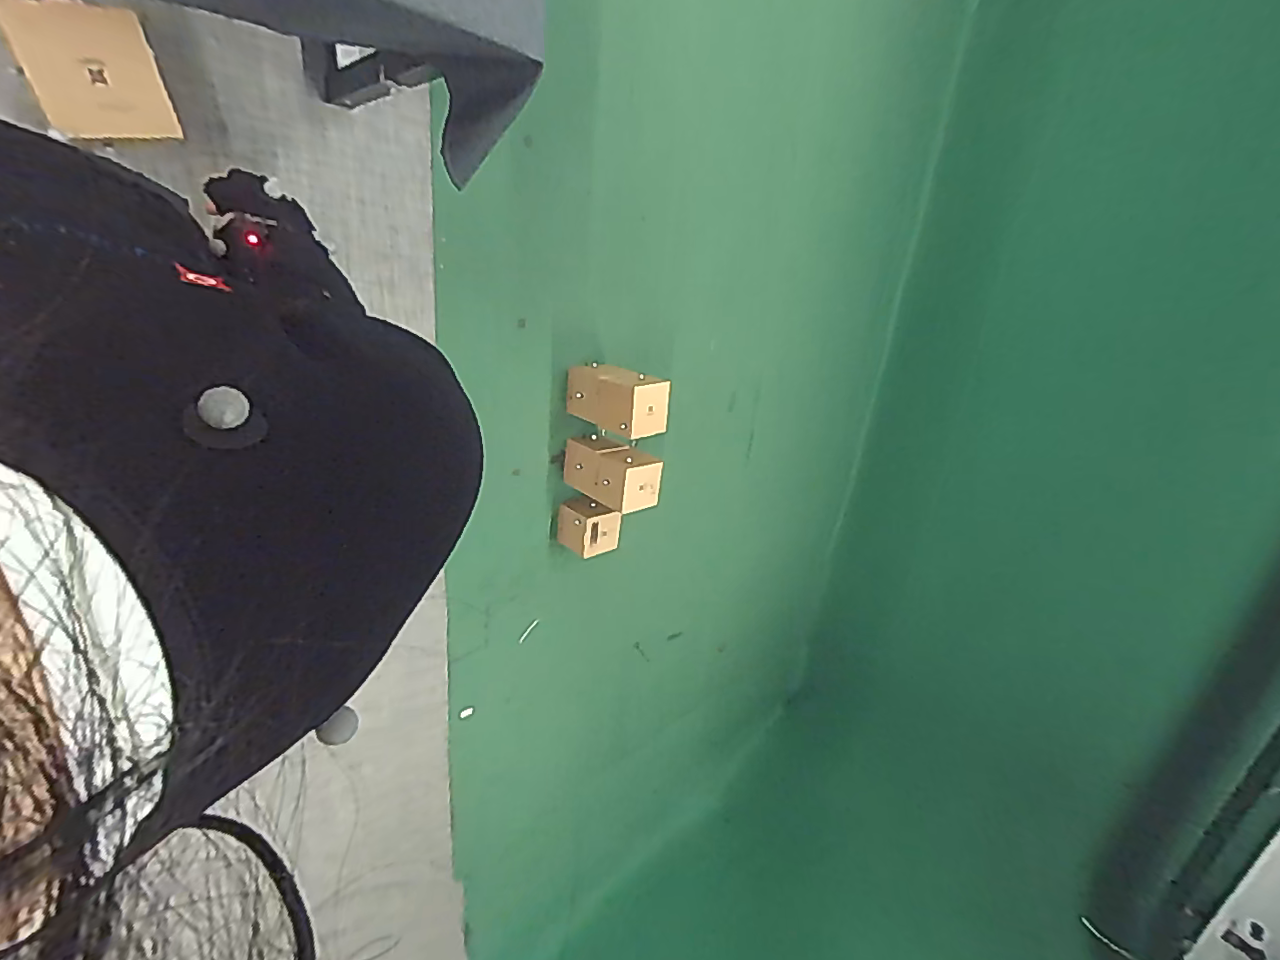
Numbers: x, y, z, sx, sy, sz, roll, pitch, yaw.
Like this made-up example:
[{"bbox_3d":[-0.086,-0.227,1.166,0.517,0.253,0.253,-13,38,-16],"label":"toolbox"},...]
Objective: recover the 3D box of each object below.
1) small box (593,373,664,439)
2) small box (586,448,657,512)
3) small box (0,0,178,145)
[{"bbox_3d":[-0.041,-0.254,1.802,0.168,0.176,0.179,-18,122,-42],"label":"small box"},{"bbox_3d":[-0.069,-0.006,1.898,0.179,0.176,0.168,-13,120,-44],"label":"small box"},{"bbox_3d":[-0.909,-0.662,0.888,0.168,0.176,0.179,-28,127,-36],"label":"small box"}]
